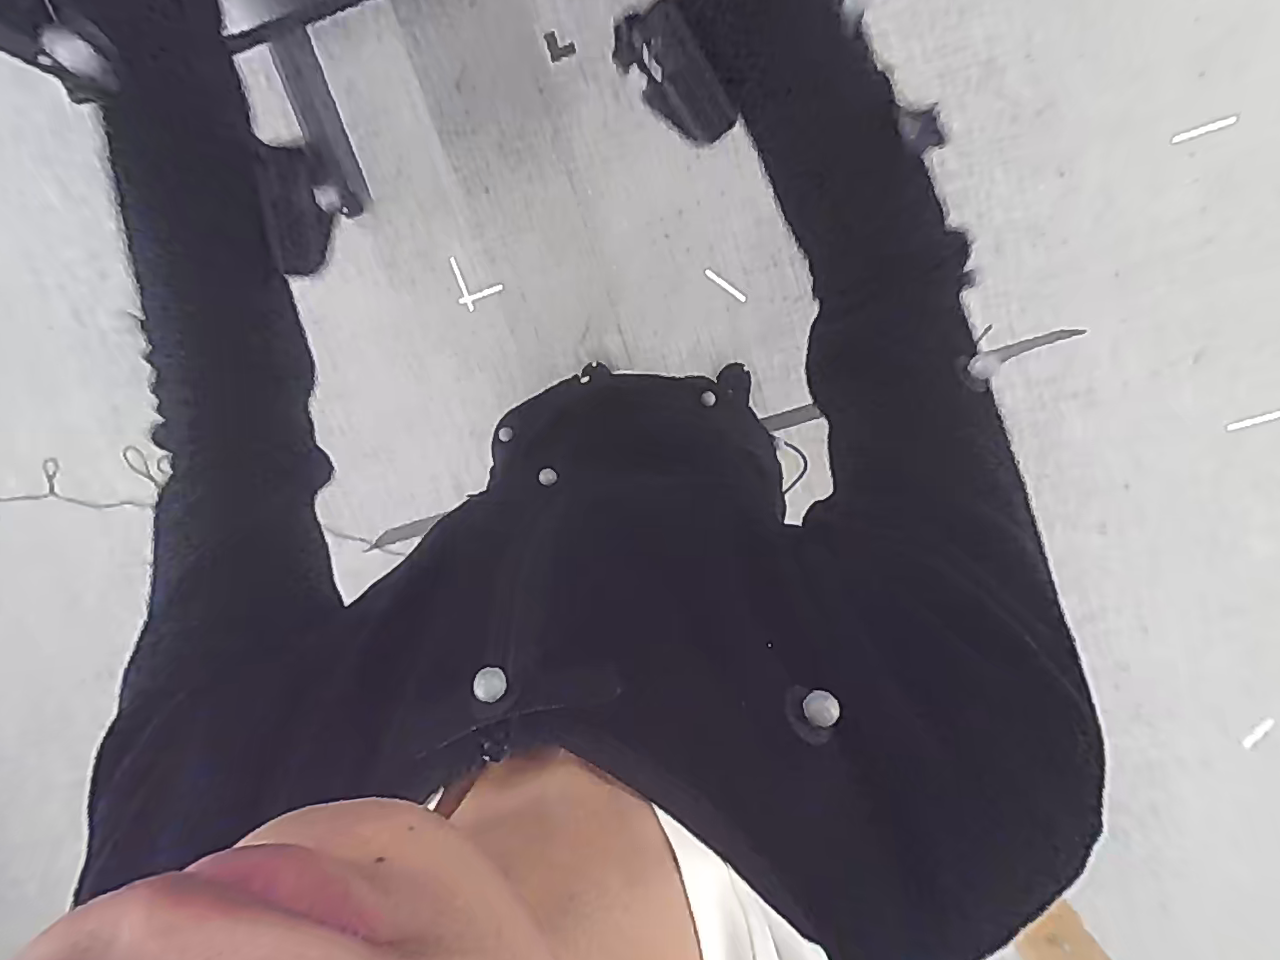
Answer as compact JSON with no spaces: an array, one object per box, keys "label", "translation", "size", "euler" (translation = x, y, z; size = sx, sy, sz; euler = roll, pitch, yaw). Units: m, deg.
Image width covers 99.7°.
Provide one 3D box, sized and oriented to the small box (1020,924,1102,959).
[{"label":"small box","translation":[1.170,1.357,1.452],"size":[0.168,0.176,0.179],"euler":[-19,99,4]}]
